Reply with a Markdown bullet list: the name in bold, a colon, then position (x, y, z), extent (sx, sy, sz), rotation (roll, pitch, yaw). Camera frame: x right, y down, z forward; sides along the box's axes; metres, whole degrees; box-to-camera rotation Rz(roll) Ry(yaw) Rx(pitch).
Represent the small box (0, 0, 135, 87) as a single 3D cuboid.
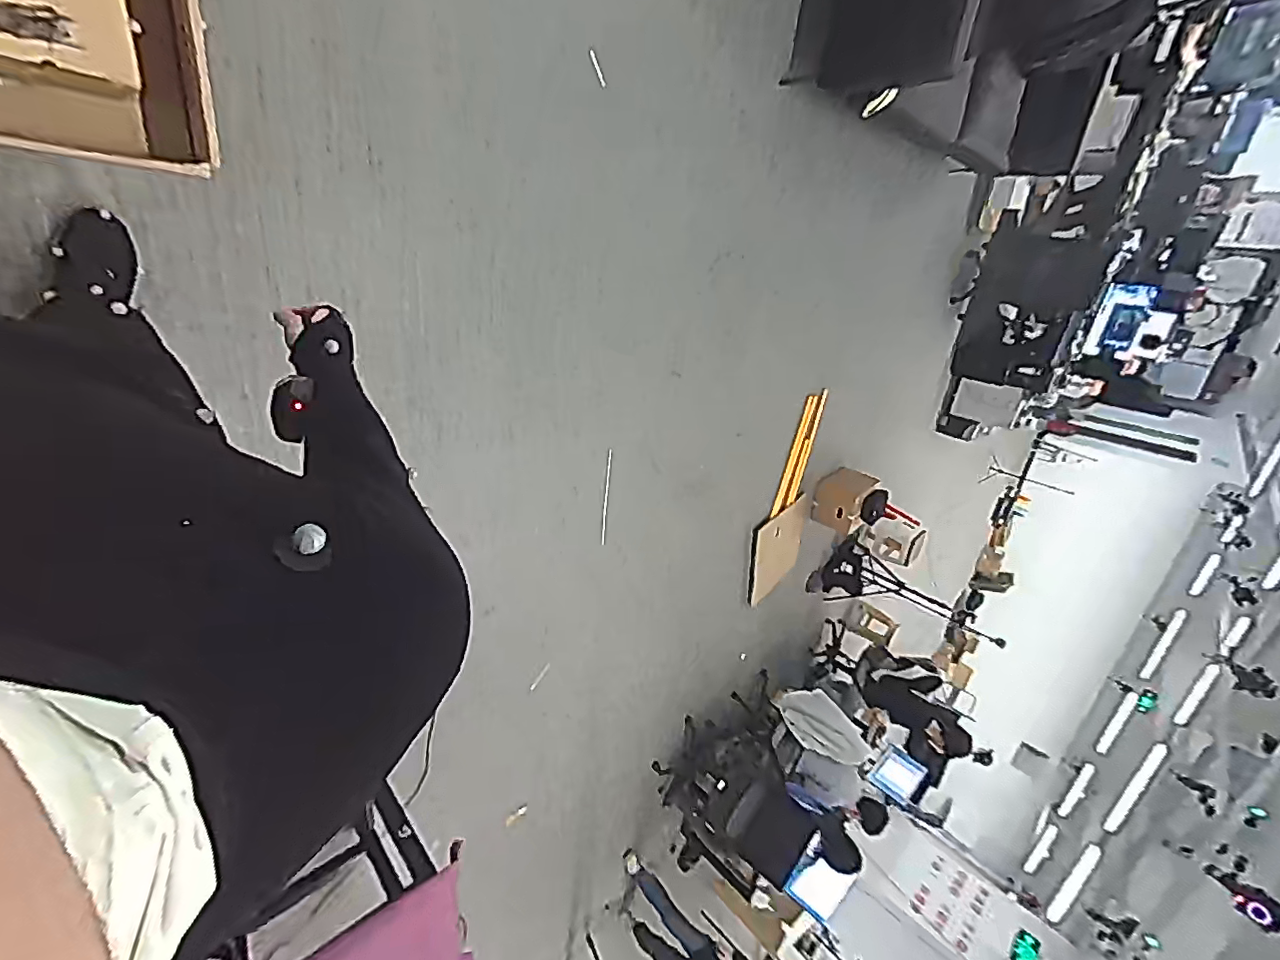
- **small box**: position (-0.736, -0.600, 0.647), extent (0.168, 0.176, 0.179), rotation (-15, 120, -43)
